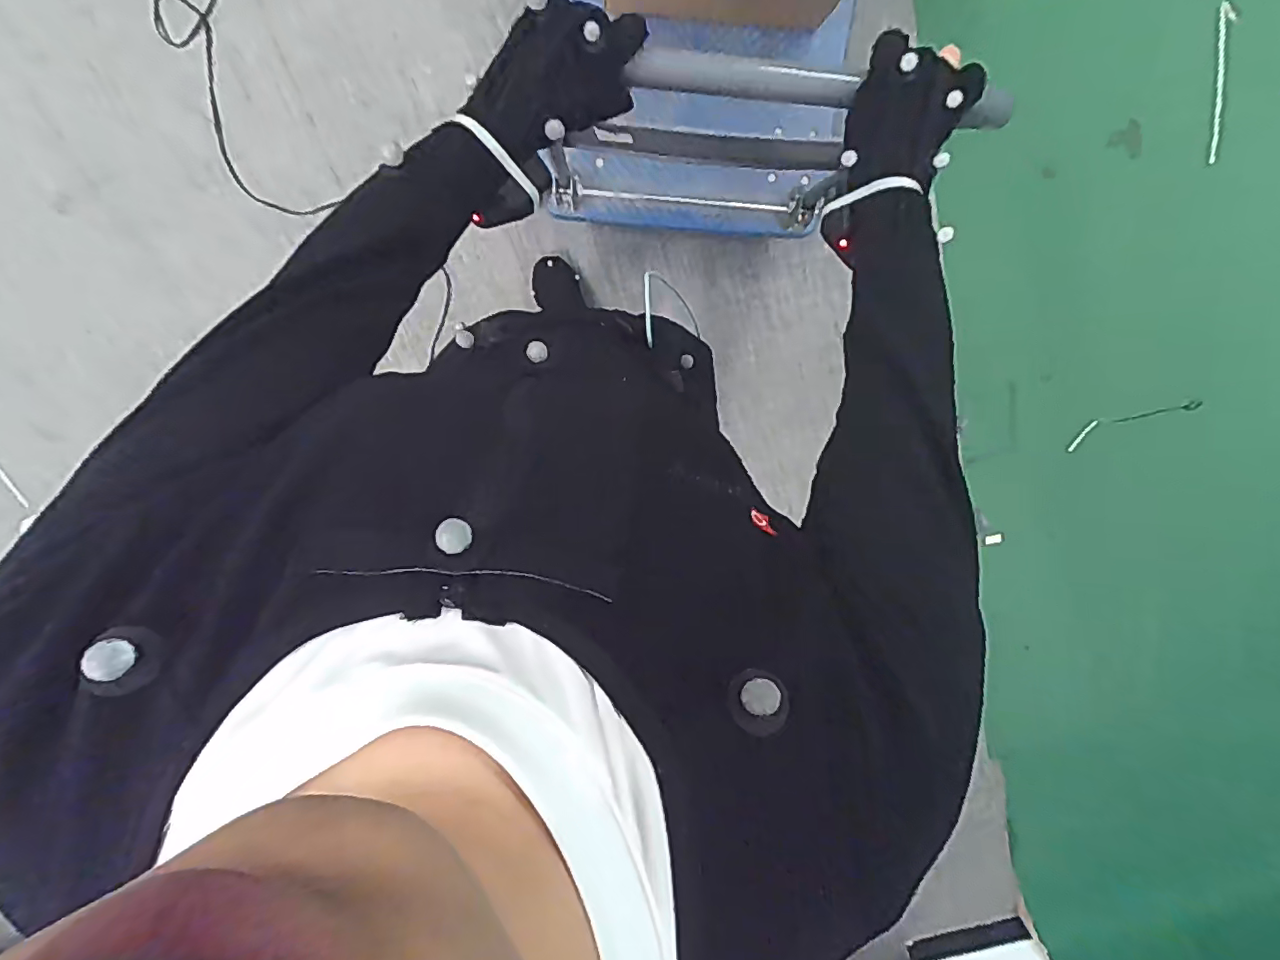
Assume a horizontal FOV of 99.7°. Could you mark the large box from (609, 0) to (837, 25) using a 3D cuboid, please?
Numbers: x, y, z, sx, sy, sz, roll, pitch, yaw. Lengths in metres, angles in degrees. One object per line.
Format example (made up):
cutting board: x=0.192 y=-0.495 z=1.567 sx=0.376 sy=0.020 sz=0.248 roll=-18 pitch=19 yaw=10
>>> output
large box: x=0.152 y=-0.955 z=0.828 sx=0.408 sy=0.320 sz=0.320 roll=3 pitch=110 yaw=-2
